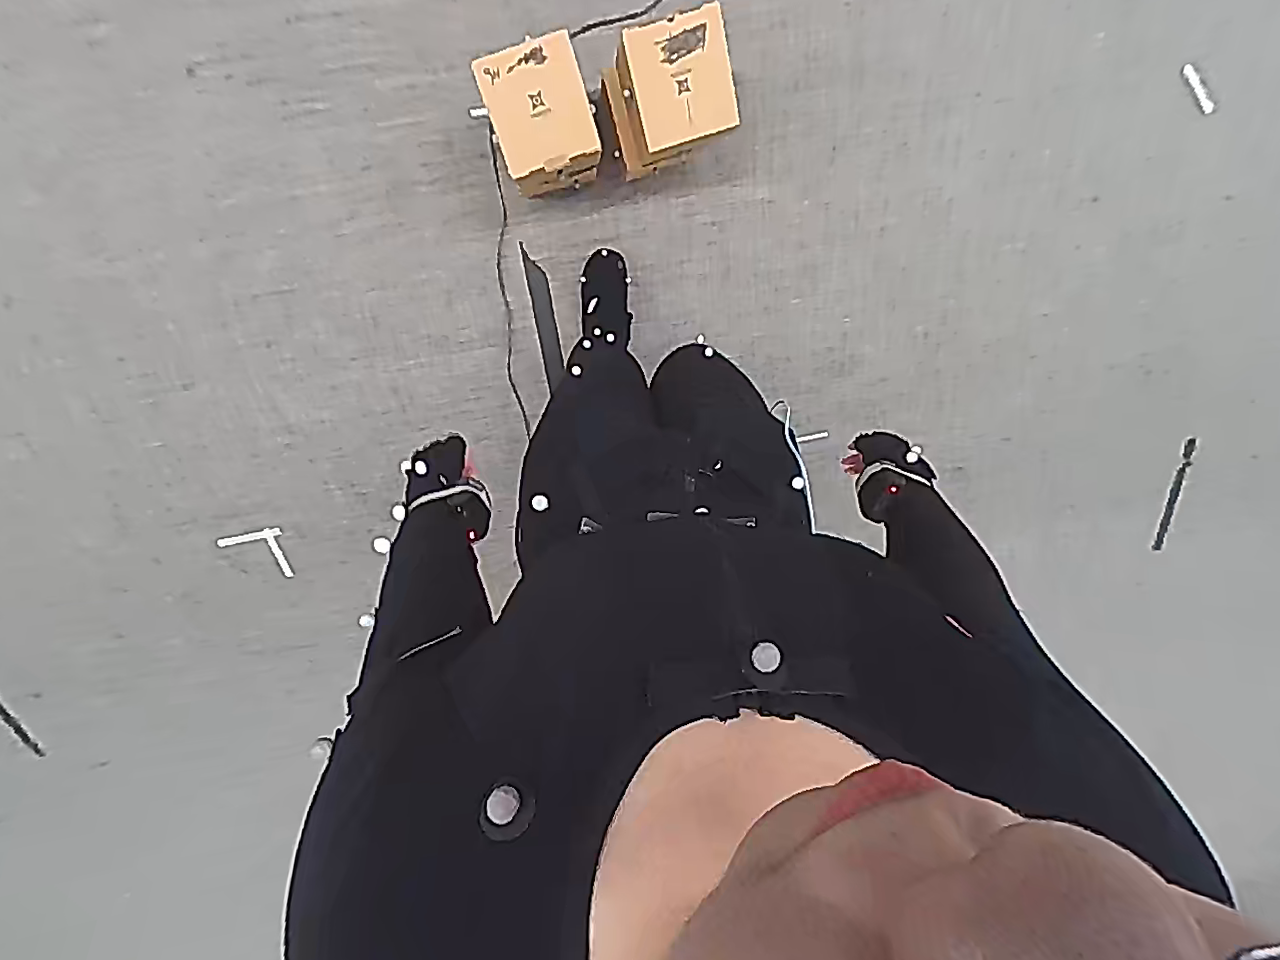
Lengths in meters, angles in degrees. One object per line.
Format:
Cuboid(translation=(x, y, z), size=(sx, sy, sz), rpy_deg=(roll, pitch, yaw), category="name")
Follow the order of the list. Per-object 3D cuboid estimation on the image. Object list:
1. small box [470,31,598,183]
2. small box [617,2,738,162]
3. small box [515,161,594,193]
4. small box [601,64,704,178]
Cuboid(translation=(-0.177, -0.646, 0.963), size=(0.168, 0.176, 0.179), rpy_deg=(-18, 115, 2), category="small box")
Cuboid(translation=(0.060, -0.694, 0.966), size=(0.168, 0.176, 0.179), rpy_deg=(-16, 115, 2), category="small box")
Cuboid(translation=(-0.193, -0.706, 1.116), size=(0.168, 0.176, 0.179), rpy_deg=(-14, 114, 0), category="small box")
Cuboid(translation=(0.020, -0.749, 1.118), size=(0.168, 0.176, 0.179), rpy_deg=(-18, 115, 2), category="small box")
